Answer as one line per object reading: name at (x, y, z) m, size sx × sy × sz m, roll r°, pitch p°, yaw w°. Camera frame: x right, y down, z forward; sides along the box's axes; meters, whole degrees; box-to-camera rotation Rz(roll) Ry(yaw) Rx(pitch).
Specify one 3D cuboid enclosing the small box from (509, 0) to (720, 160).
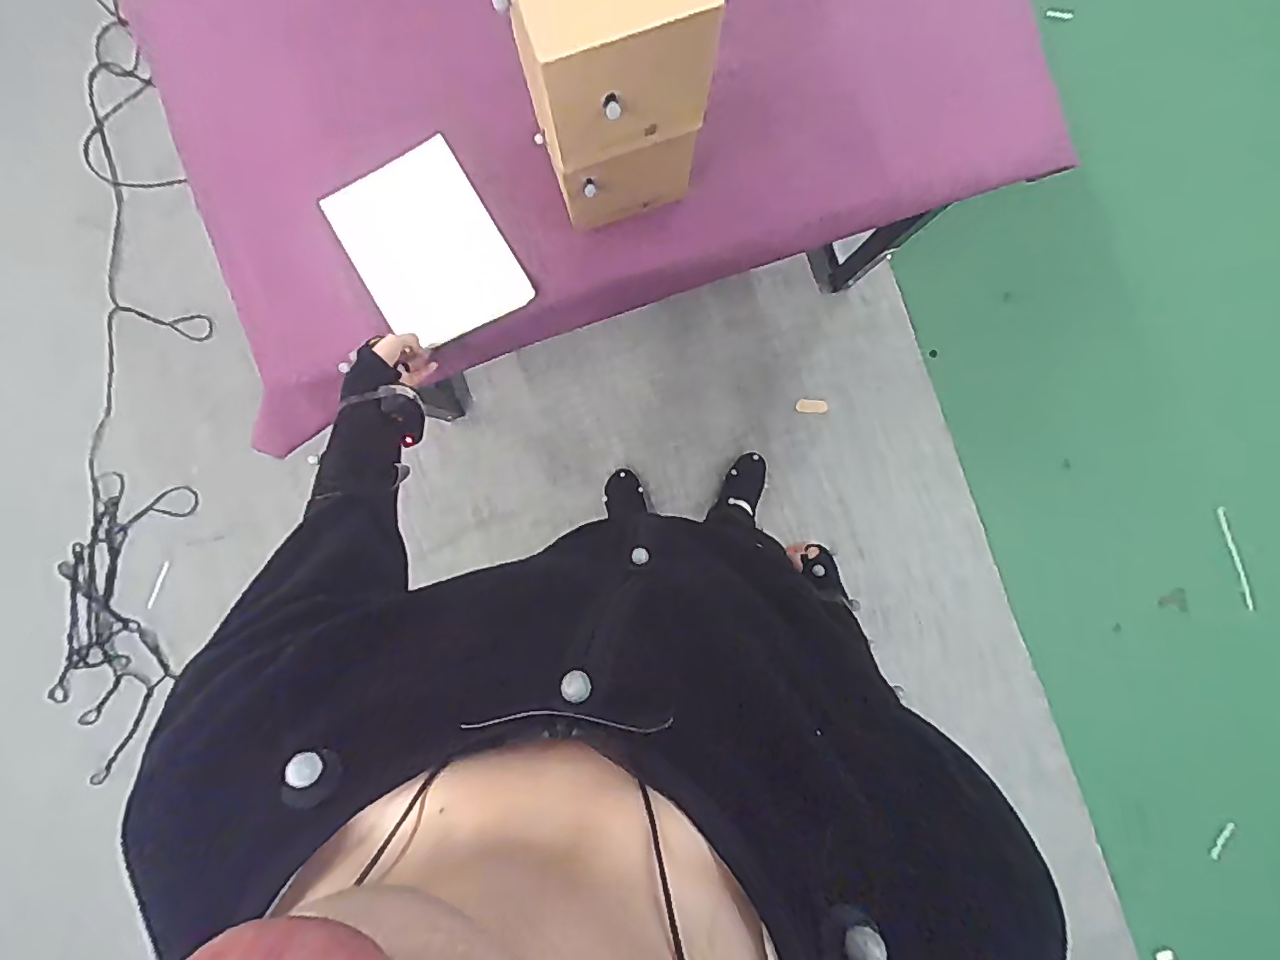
small box at (-0.034, -0.450, 0.528) m, size 0.168 × 0.176 × 0.179 m, roll -19°, pitch 90°, yaw -1°
